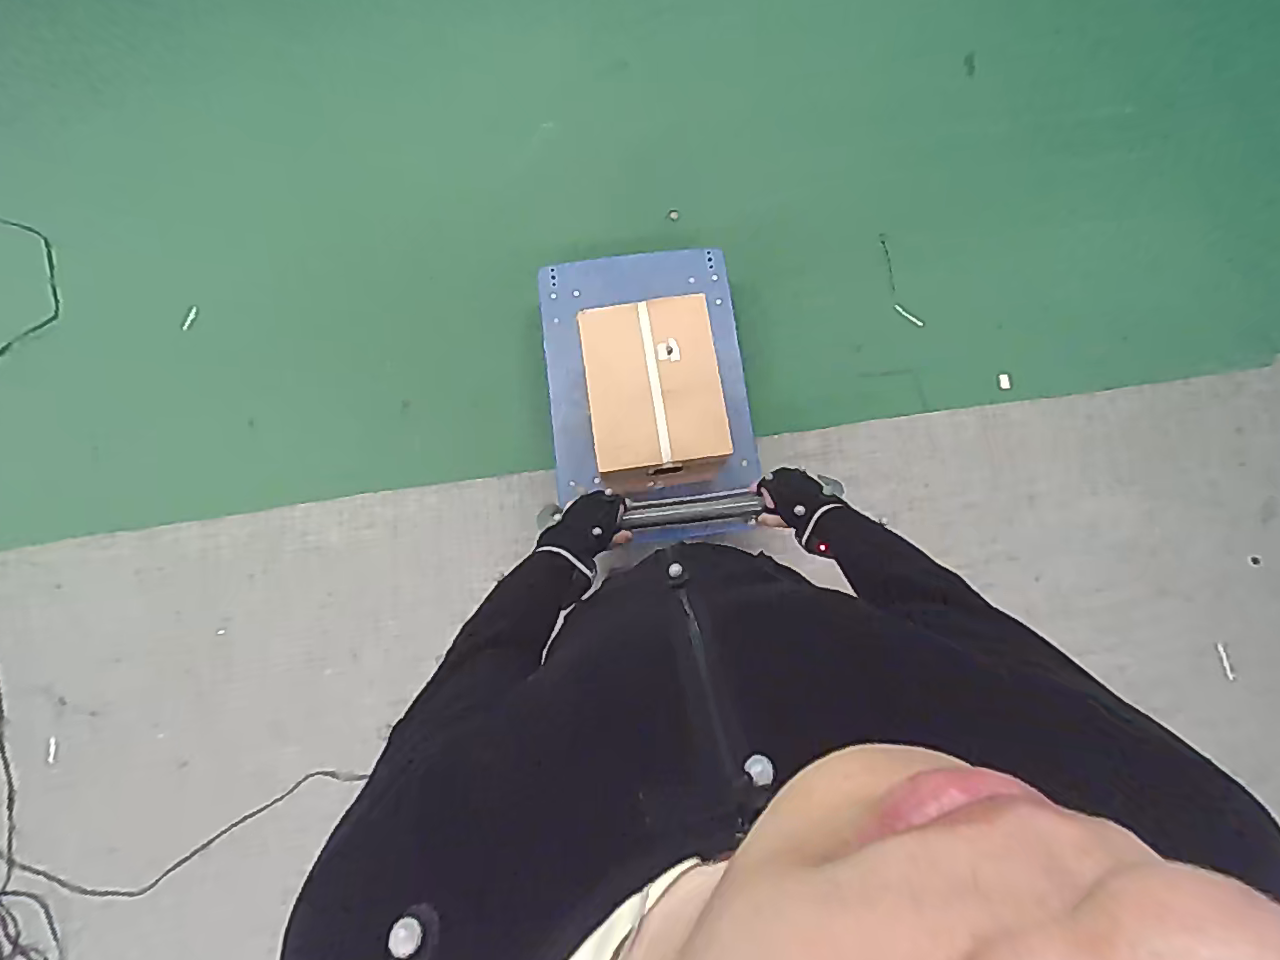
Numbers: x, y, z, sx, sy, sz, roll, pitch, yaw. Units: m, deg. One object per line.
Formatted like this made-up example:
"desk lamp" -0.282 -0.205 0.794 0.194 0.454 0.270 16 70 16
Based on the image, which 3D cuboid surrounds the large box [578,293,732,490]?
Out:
"large box" 0.034 -0.212 1.416 0.320 0.320 0.408 -8 79 -1
